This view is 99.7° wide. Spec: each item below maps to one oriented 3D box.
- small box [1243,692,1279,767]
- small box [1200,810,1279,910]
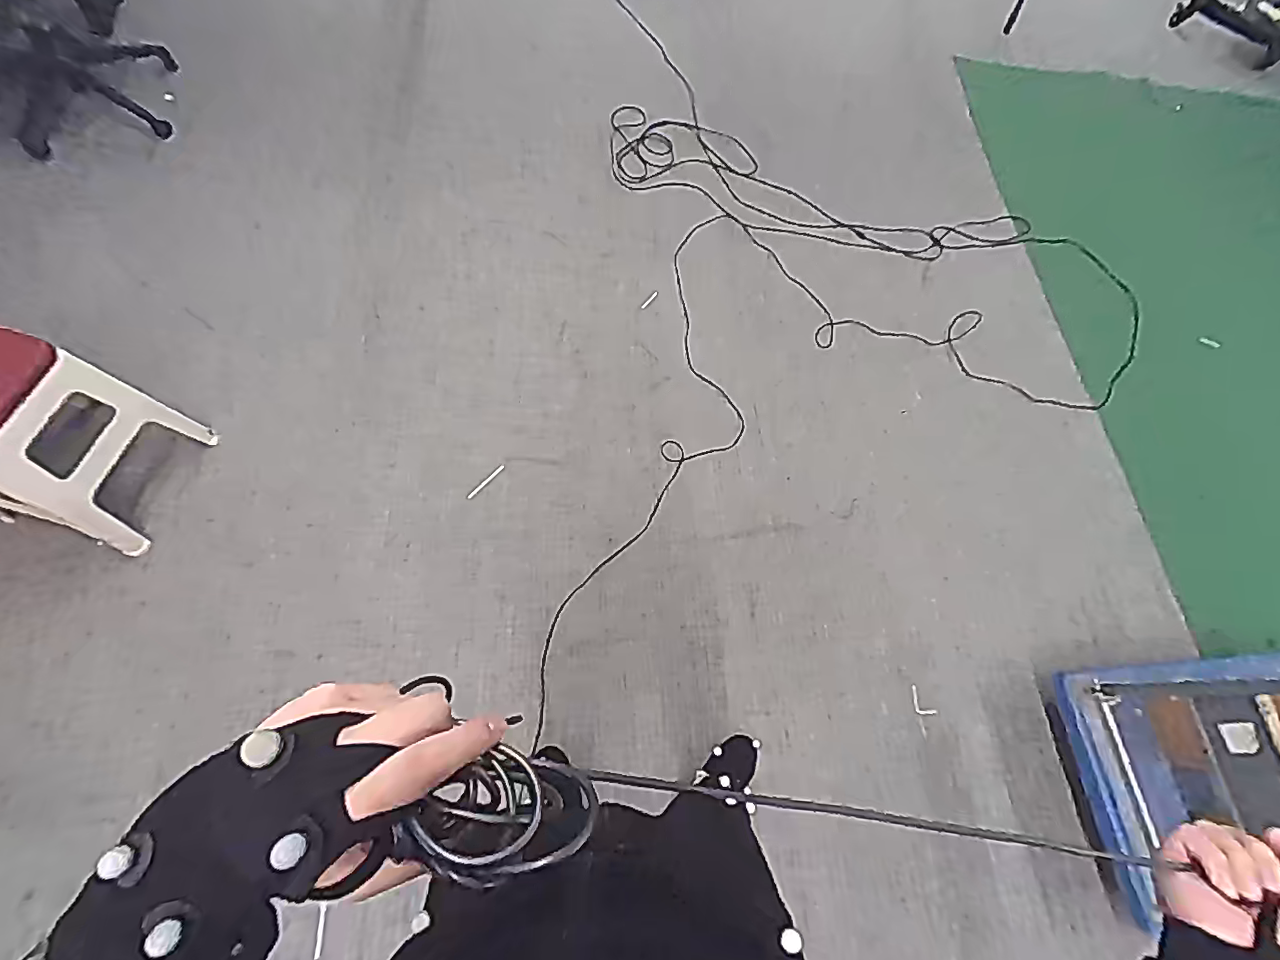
[{"bbox_3d":[1.694,0.628,1.358,0.179,0.176,0.168,-5,69,-9],"label":"small box"},{"bbox_3d":[1.462,0.865,1.231,0.179,0.176,0.168,-1,68,-6],"label":"small box"}]
